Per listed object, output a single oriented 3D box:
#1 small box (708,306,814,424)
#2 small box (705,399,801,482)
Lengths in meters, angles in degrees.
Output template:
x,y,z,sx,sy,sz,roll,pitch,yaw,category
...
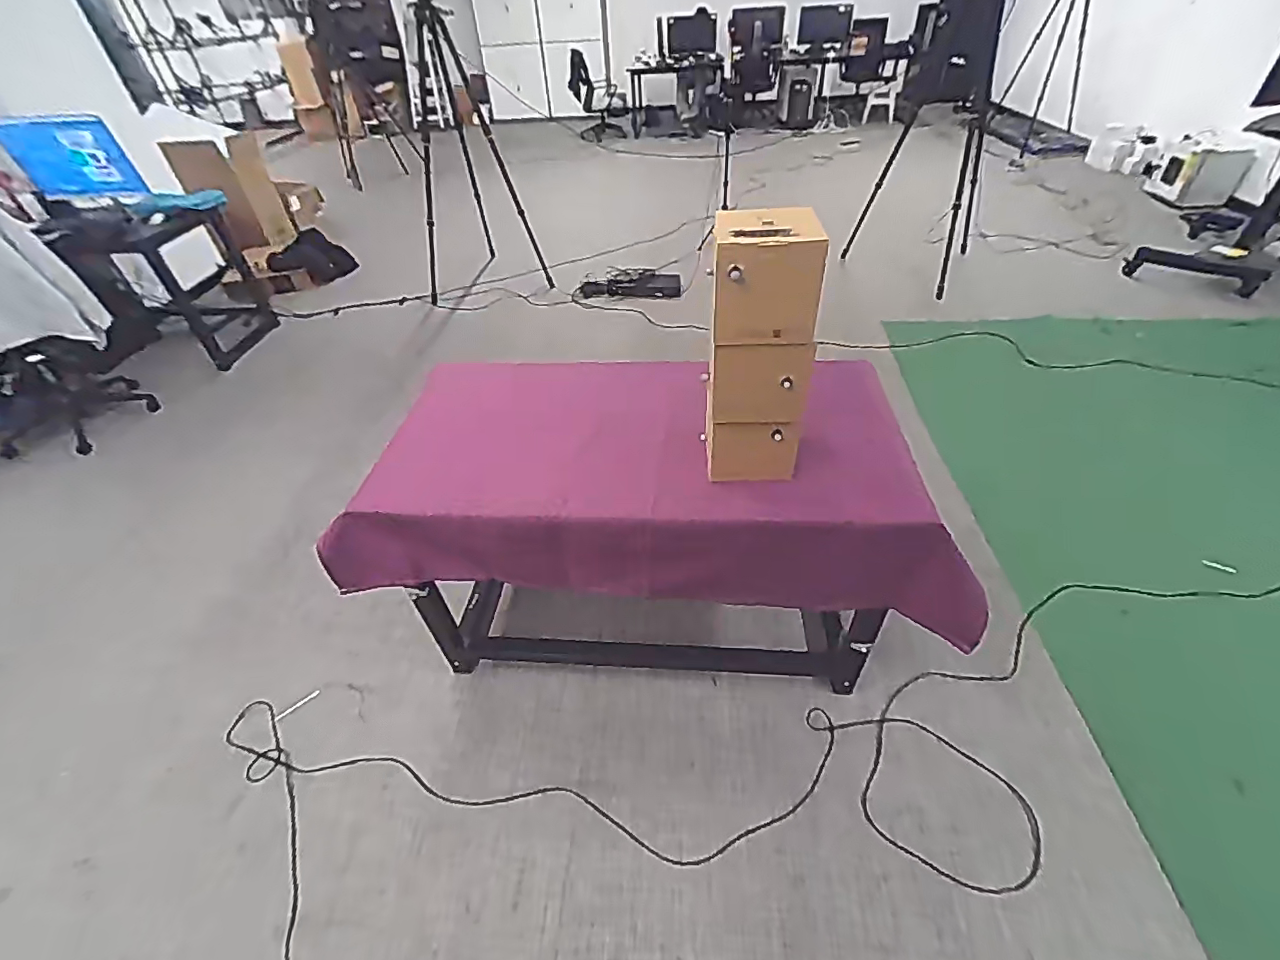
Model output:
x,y,z,sx,sy,sz,roll,pitch,yaw,category
0.222,-0.220,1.042,0.179,0.176,0.168,0,41,6,small box
0.234,-0.109,1.163,0.179,0.176,0.168,-1,41,4,small box
